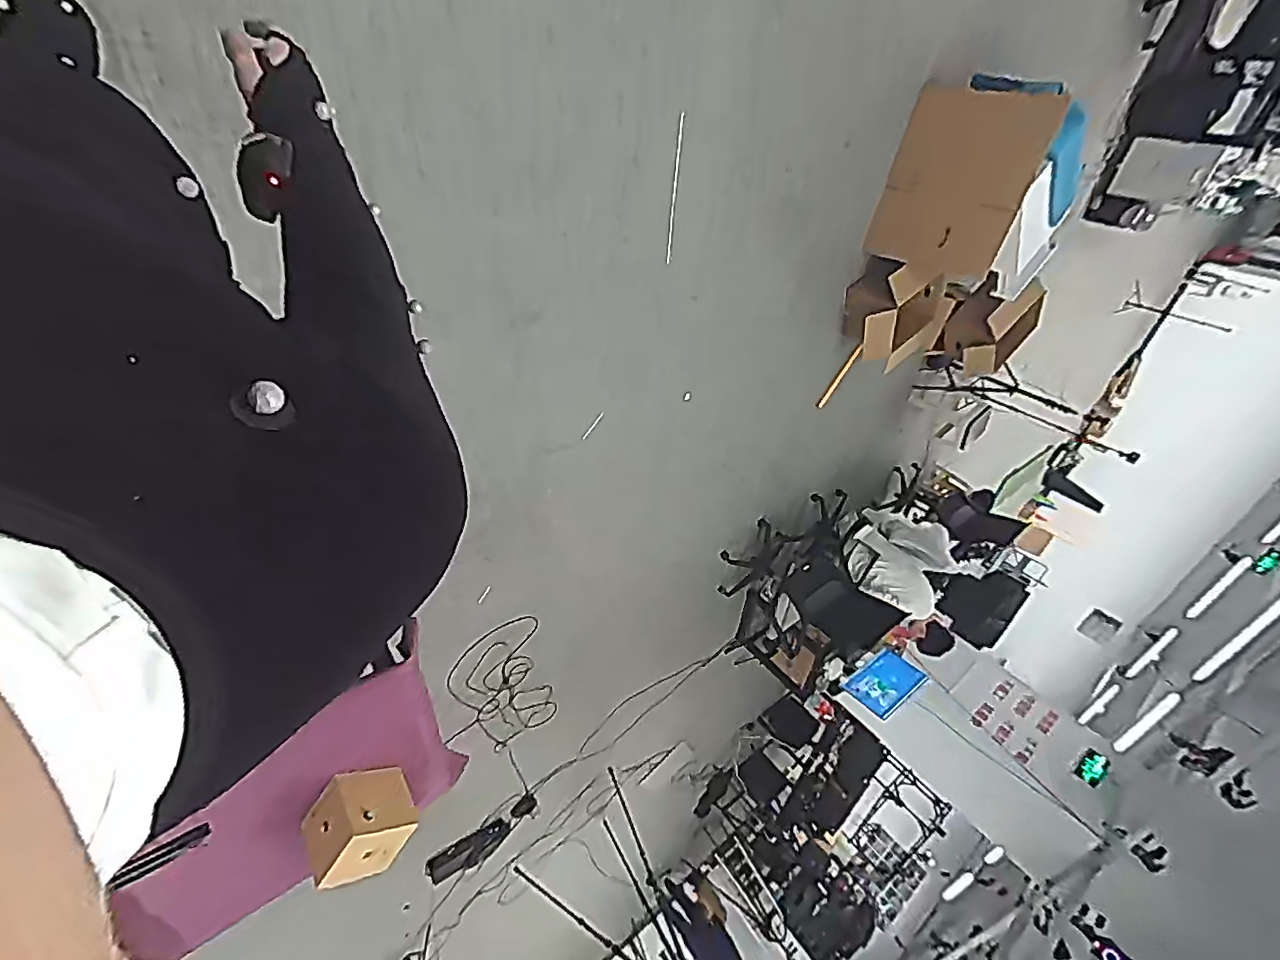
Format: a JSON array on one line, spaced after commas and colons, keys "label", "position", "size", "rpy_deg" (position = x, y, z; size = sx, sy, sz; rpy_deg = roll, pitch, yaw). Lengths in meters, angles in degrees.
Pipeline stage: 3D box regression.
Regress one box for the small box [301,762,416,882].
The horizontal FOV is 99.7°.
[{"label": "small box", "position": [-0.696, 0.827, 1.328], "size": [0.168, 0.176, 0.179], "rpy_deg": [-54, 142, 6]}]
